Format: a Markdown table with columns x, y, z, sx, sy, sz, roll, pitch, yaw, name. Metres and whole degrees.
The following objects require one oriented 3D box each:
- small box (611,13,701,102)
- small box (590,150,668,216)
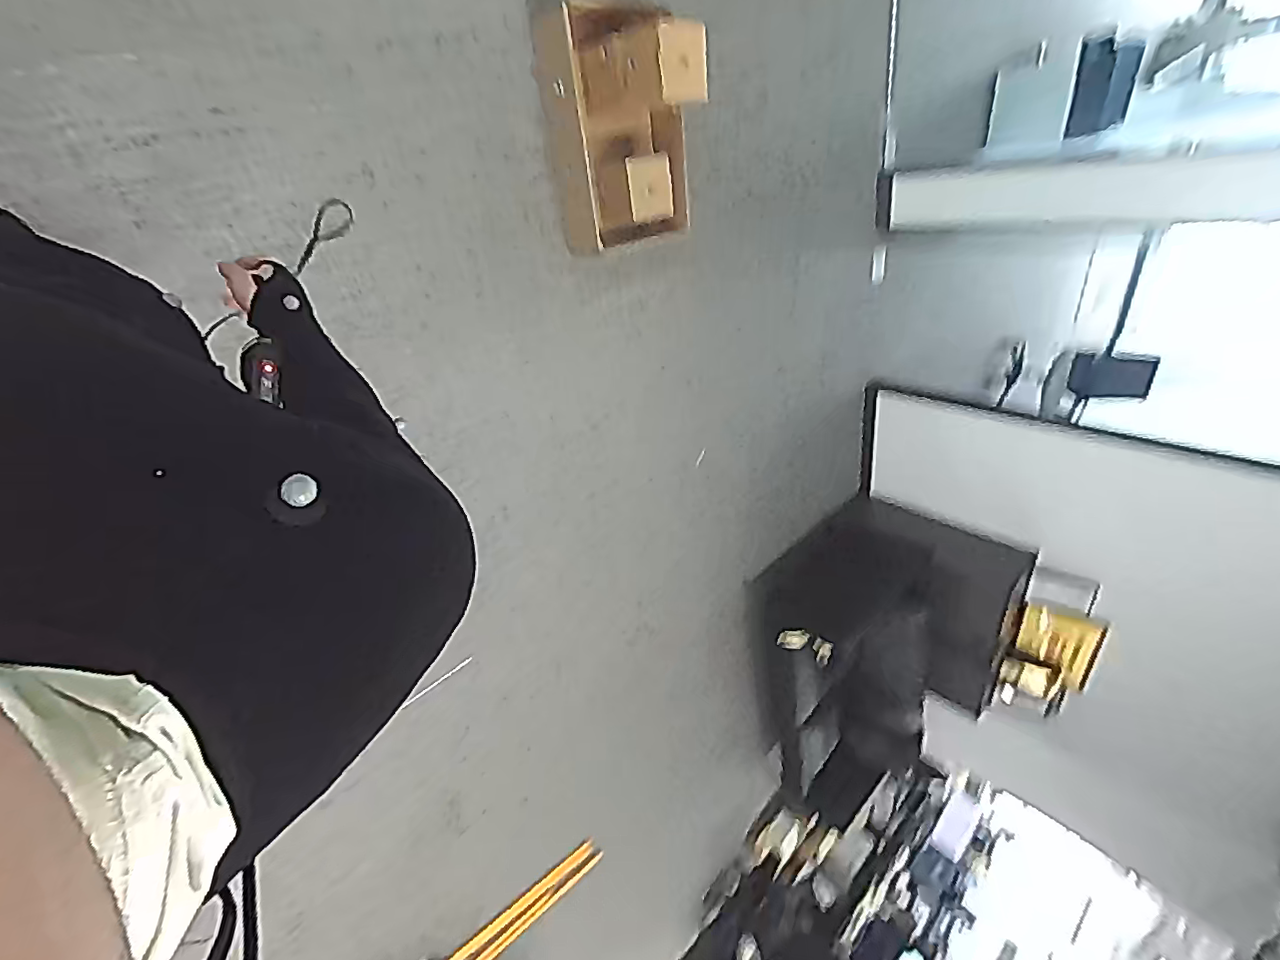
| x | y | z | sx | sy | sz | roll | pitch | yaw | name |
| --- | --- | --- | --- | --- | --- | --- | --- | --- | --- |
| 0.046 | -1.135 | 1.463 | 0.179 | 0.176 | 0.168 | -29 | 128 | -33 | small box |
| -0.034 | -0.940 | 1.715 | 0.179 | 0.176 | 0.168 | -29 | 126 | -32 | small box |
